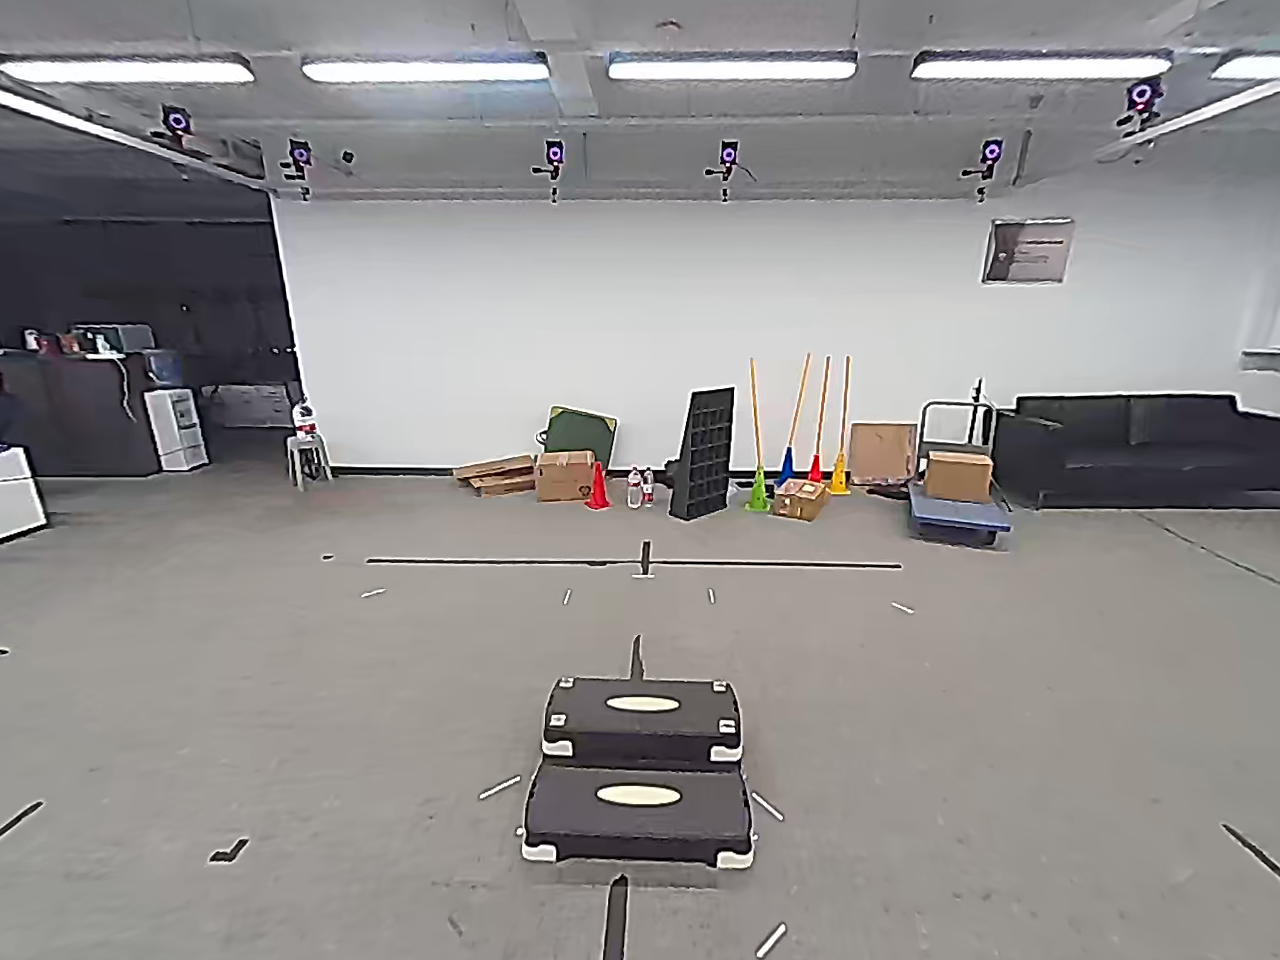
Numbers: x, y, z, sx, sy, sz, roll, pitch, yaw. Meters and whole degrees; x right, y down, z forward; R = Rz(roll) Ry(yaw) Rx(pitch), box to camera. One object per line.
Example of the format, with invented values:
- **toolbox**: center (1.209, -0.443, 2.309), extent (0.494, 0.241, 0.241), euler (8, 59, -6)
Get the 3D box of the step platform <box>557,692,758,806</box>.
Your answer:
- **step platform**: center (0.062, 0.921, 1.885), extent (0.684, 0.204, 0.286), euler (2, 15, 6)
